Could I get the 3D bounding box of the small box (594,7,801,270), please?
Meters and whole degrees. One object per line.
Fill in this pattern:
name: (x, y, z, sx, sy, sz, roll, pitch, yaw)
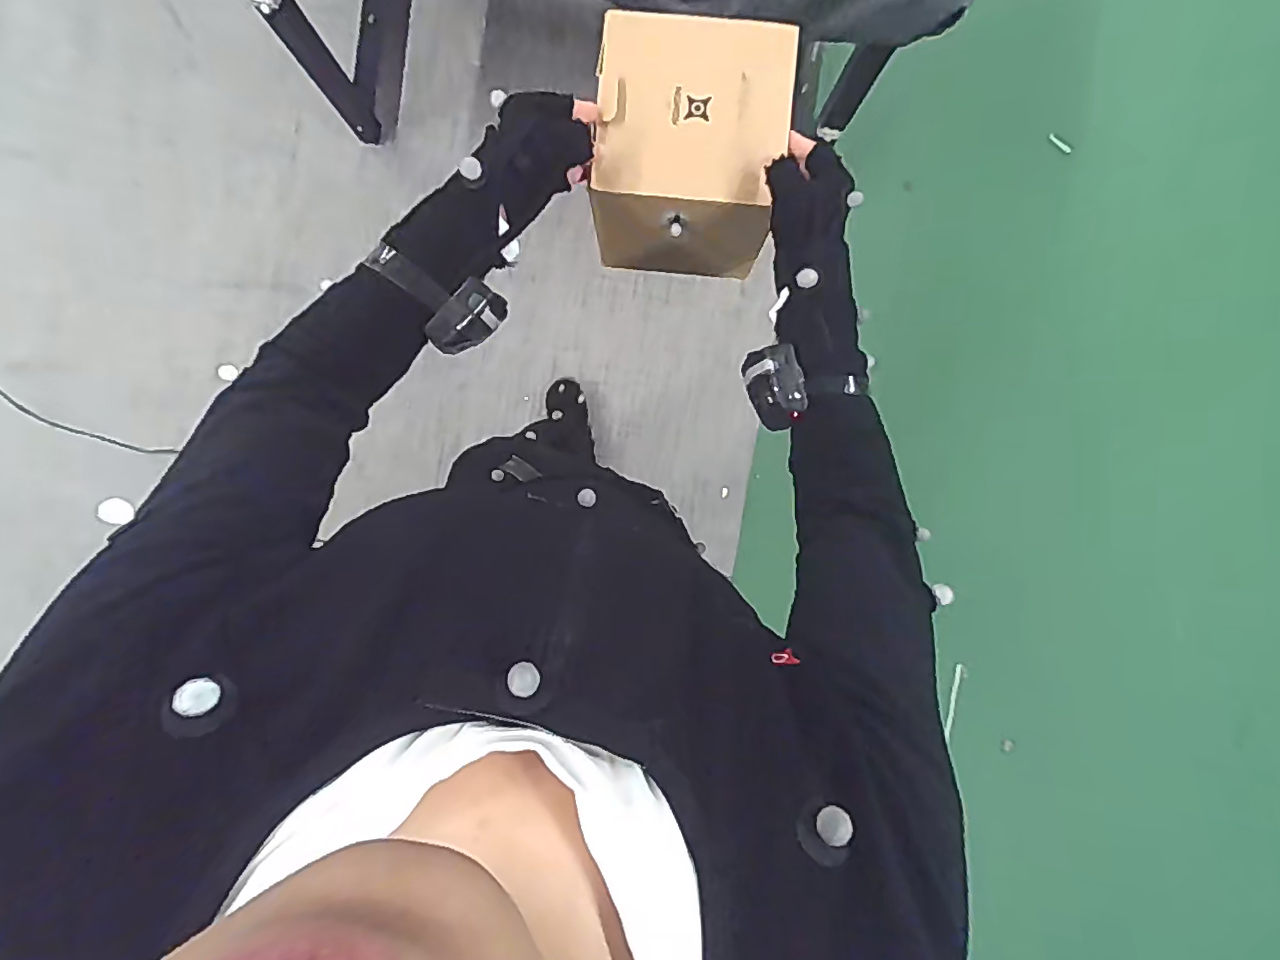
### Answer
small box: (0.051, -0.334, 0.564, 0.179, 0.176, 0.168, 5, 90, -1)
